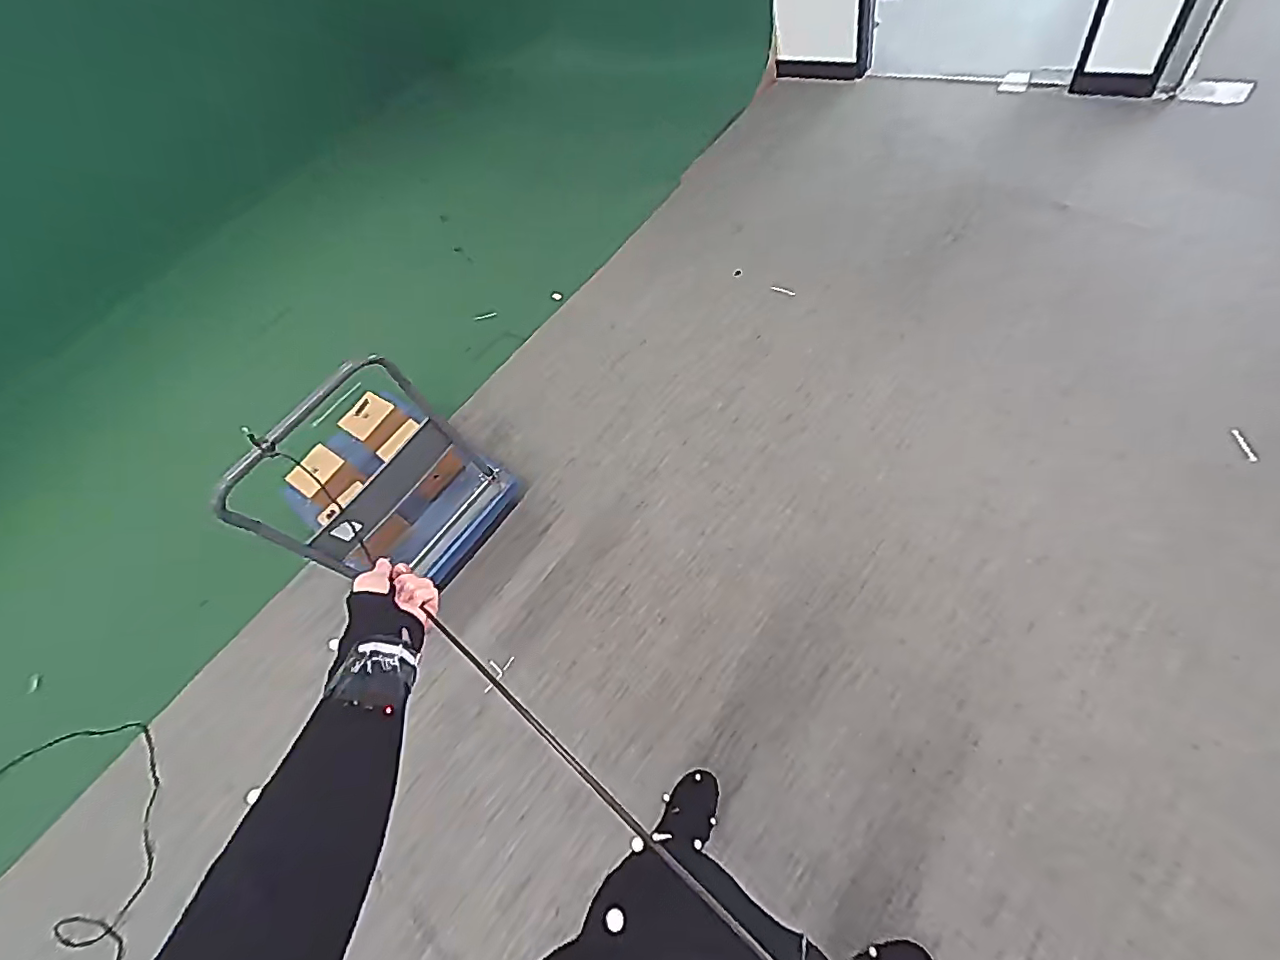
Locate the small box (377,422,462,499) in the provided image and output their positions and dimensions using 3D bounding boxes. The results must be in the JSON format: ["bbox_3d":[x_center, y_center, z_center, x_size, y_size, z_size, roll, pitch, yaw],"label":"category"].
[{"bbox_3d":[-0.751,-0.062,1.852,0.179,0.176,0.168,32,73,30],"label":"small box"}]

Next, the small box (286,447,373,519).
[{"bbox_3d":[-1.092,0.017,1.916,0.179,0.176,0.168,26,70,29],"label":"small box"}]

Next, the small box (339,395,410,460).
[{"bbox_3d":[-0.952,-0.179,1.989,0.179,0.176,0.168,27,72,28],"label":"small box"}]
